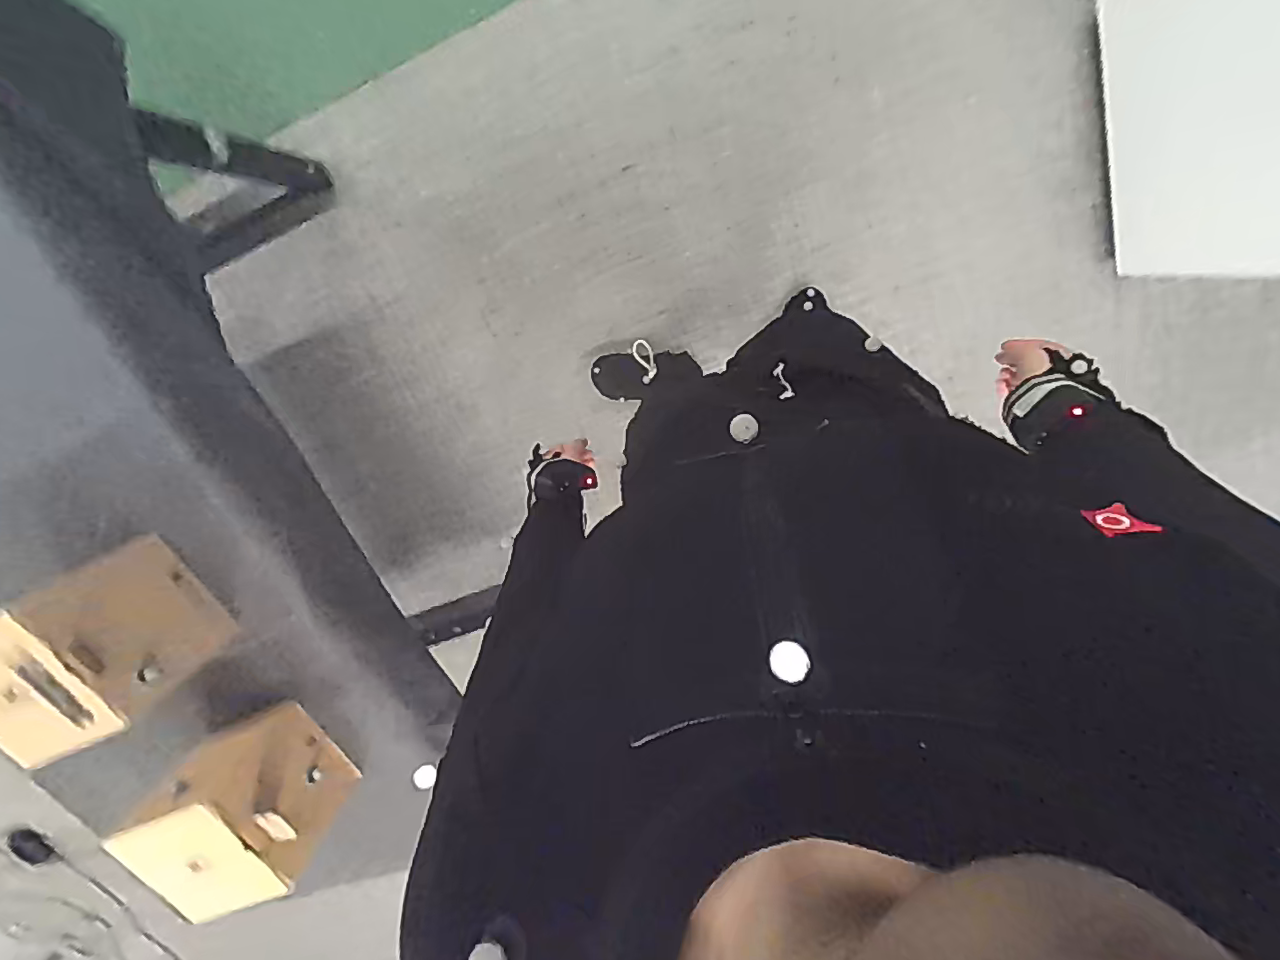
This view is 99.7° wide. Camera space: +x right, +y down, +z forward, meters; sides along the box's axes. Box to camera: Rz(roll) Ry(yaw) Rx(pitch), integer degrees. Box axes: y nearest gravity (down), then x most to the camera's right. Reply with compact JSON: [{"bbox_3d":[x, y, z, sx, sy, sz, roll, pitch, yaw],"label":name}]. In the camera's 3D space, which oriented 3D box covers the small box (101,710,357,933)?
[{"bbox_3d":[-0.533,0.450,0.729,0.179,0.176,0.168,-26,107,12],"label":"small box"}]
